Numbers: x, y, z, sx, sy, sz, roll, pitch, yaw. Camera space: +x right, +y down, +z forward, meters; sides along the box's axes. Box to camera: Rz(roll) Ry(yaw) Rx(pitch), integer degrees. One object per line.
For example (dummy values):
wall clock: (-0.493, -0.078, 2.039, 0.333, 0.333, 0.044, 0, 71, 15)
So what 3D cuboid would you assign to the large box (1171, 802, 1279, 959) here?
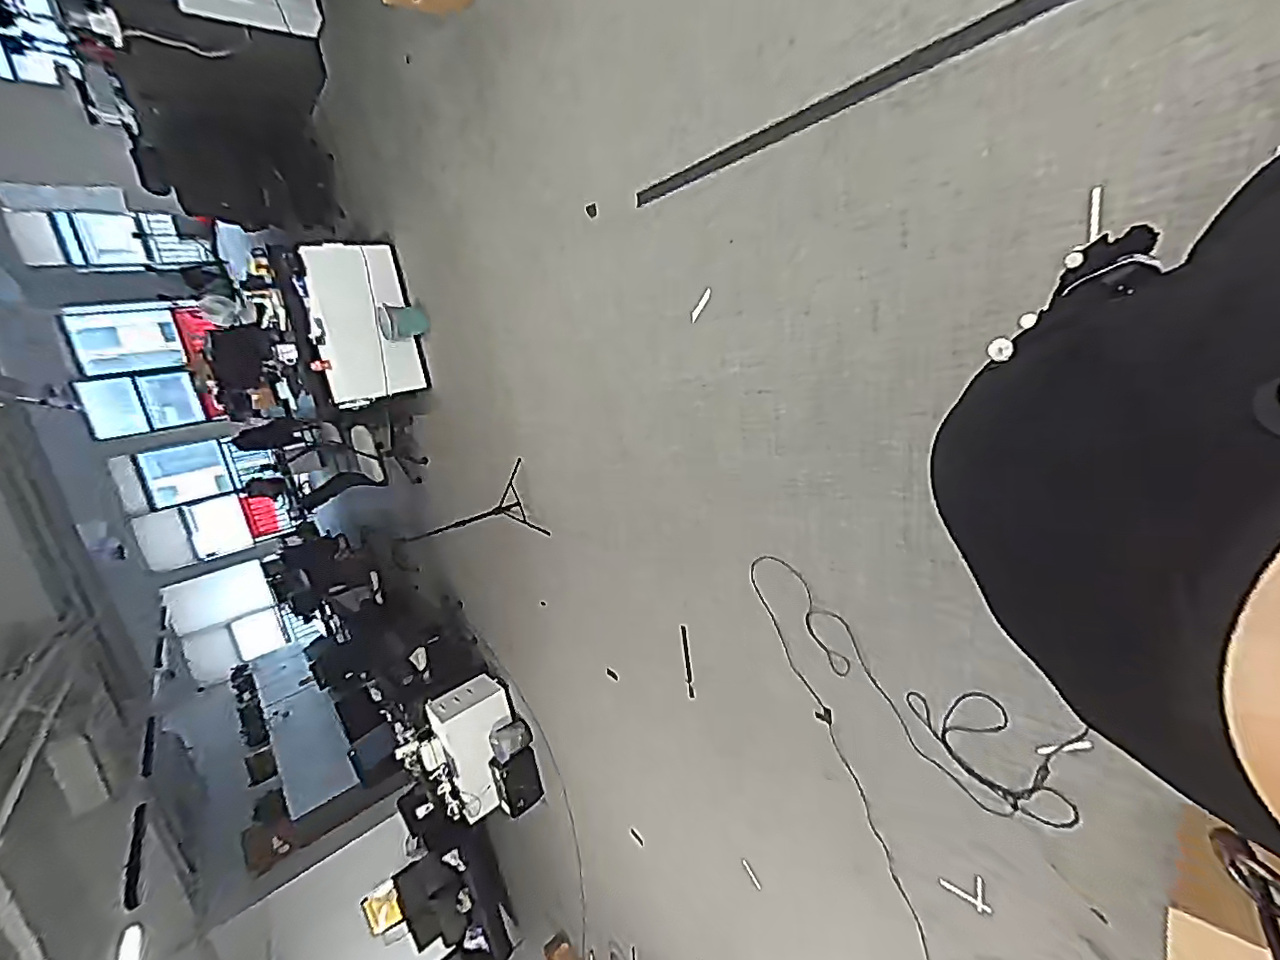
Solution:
large box: (1.322, 0.927, 1.035, 0.408, 0.320, 0.320, 3, 108, 51)
